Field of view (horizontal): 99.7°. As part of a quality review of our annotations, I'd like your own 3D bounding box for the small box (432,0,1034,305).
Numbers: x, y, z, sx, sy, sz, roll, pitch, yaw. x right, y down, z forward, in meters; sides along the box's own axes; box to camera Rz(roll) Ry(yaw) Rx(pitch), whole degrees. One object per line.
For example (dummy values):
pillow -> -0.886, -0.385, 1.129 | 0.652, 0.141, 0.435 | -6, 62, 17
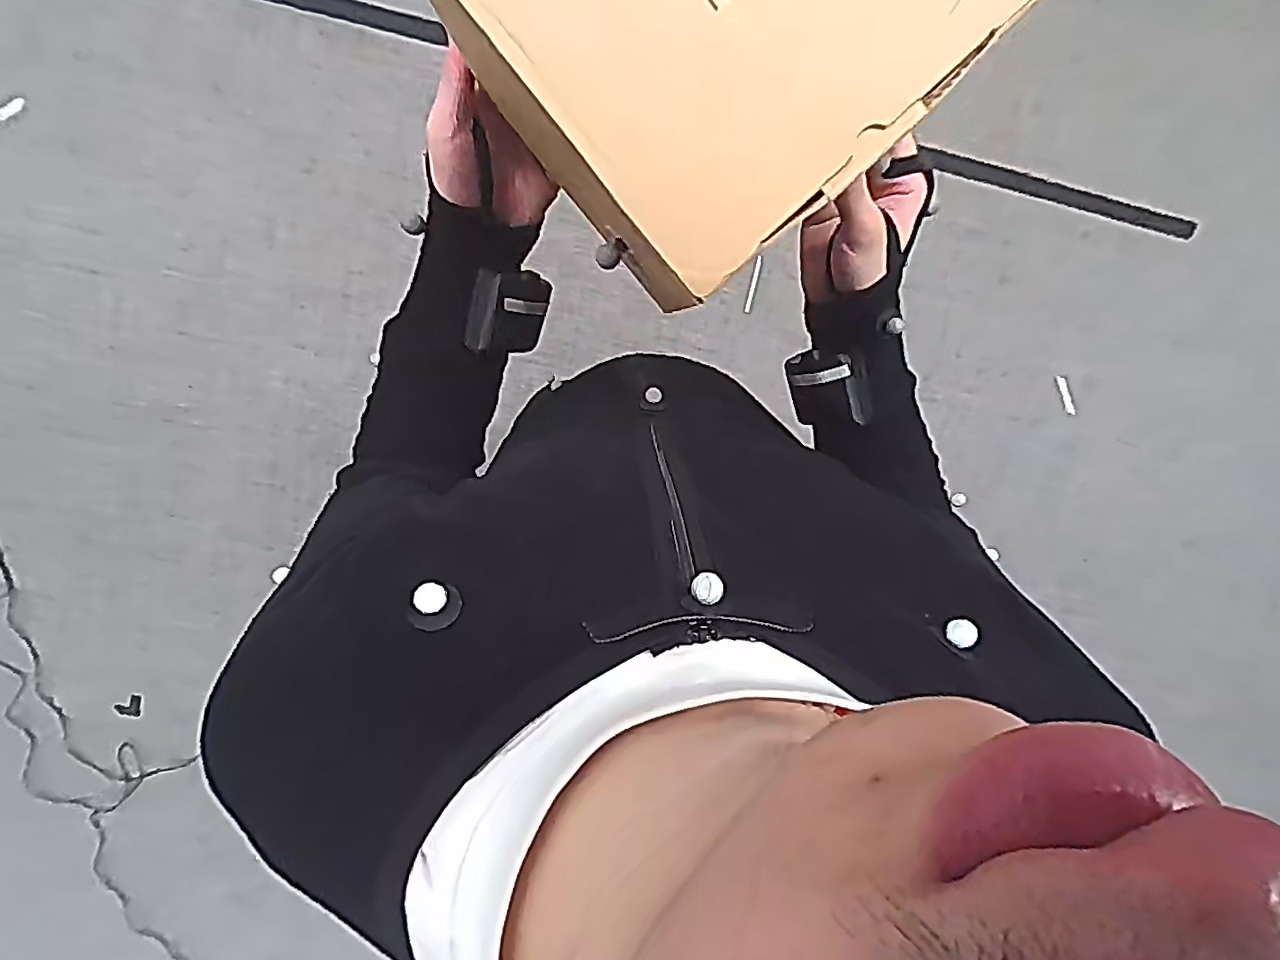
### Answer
small box -> 0.026, -0.207, 0.264 | 0.168, 0.176, 0.179 | -41, 102, 9
